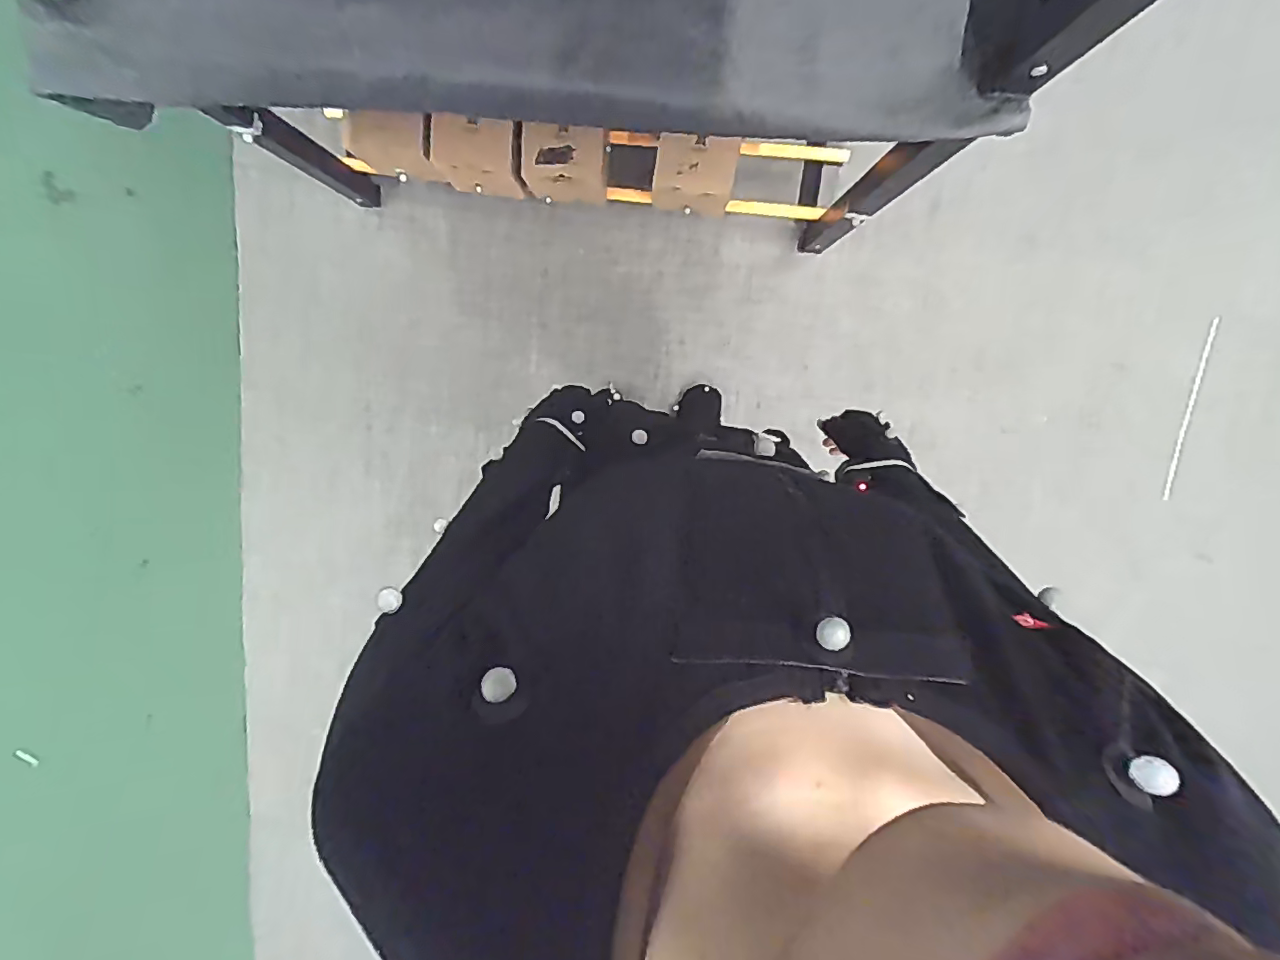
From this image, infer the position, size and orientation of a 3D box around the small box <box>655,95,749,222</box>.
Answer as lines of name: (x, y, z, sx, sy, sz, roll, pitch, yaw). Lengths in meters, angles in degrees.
small box: (0.127, -0.686, 1.174, 0.168, 0.176, 0.179, 11, 102, 0)
